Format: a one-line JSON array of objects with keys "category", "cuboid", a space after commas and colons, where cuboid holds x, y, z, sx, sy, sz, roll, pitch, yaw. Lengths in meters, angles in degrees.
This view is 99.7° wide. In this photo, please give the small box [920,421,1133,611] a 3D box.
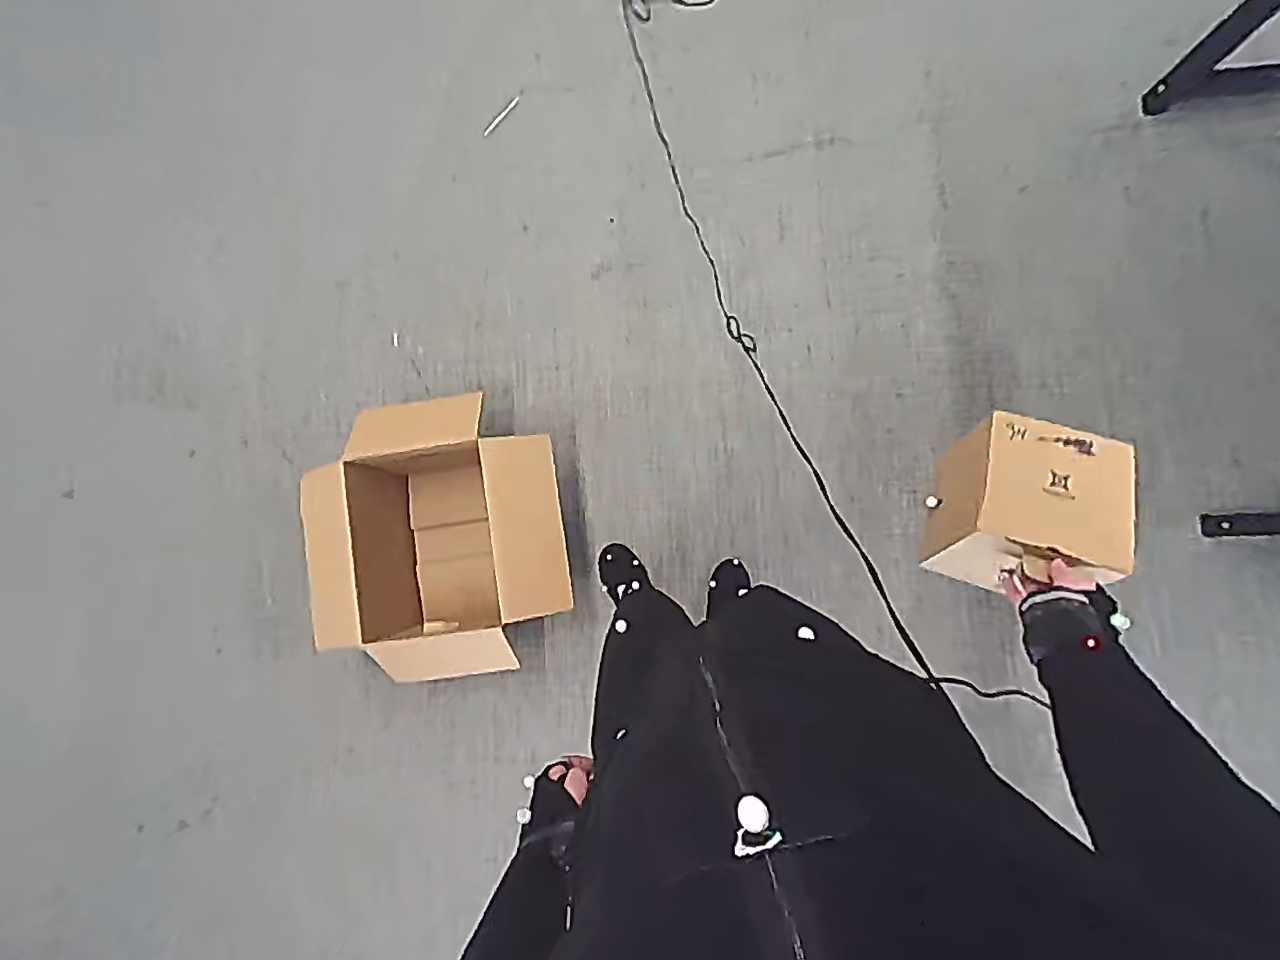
[{"category": "small box", "cuboid": [0.499, 0.056, 0.720, 0.168, 0.176, 0.179, 20, 68, 11]}]
